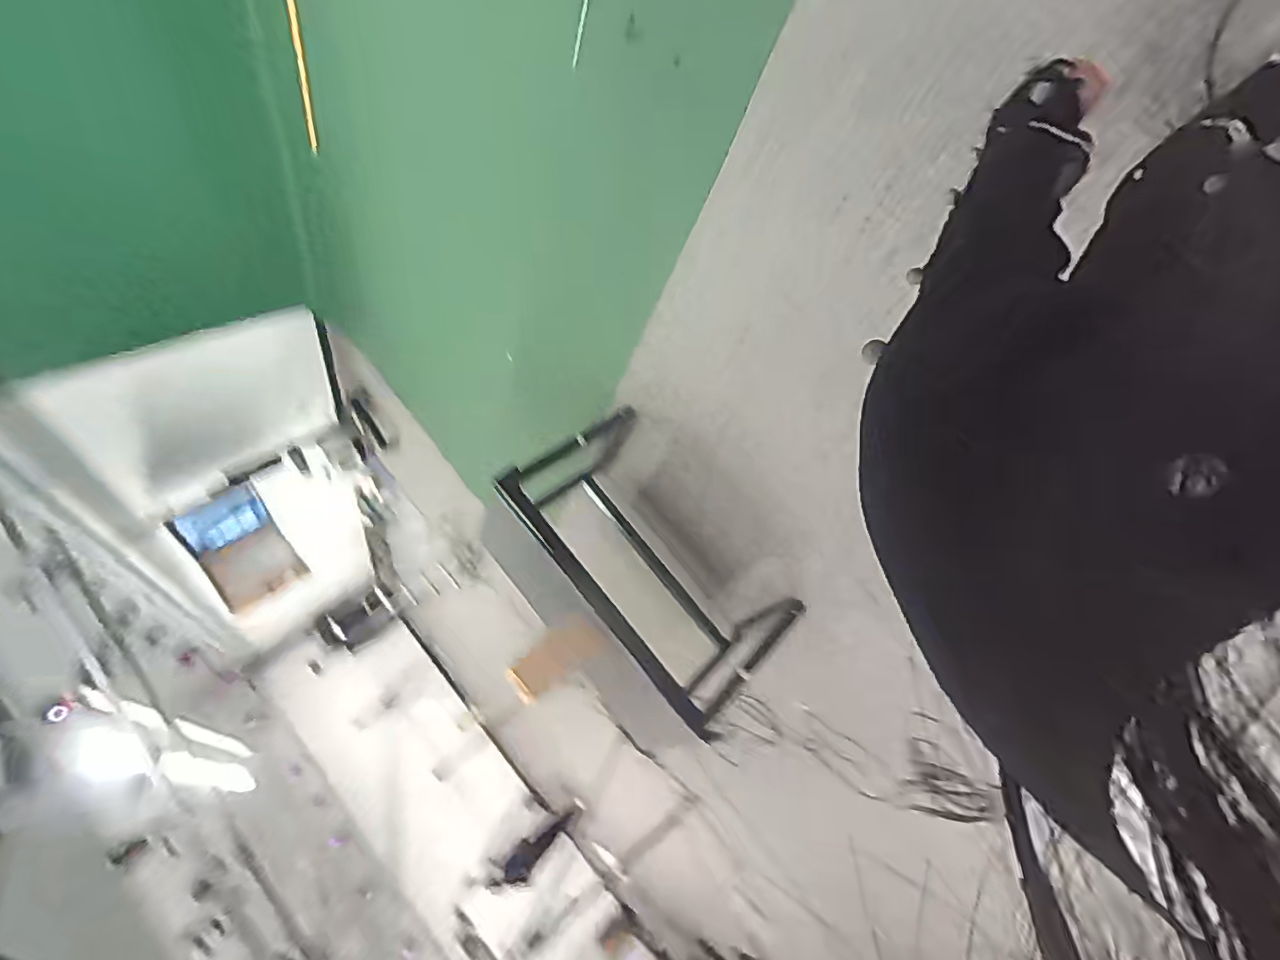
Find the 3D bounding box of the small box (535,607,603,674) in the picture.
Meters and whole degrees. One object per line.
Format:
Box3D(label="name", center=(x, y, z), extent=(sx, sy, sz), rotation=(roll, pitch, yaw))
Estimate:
Box3D(label="small box", center=(-0.266, 0.605, 2.042), extent=(0.168, 0.176, 0.179), rotation=(52, 146, 5))
